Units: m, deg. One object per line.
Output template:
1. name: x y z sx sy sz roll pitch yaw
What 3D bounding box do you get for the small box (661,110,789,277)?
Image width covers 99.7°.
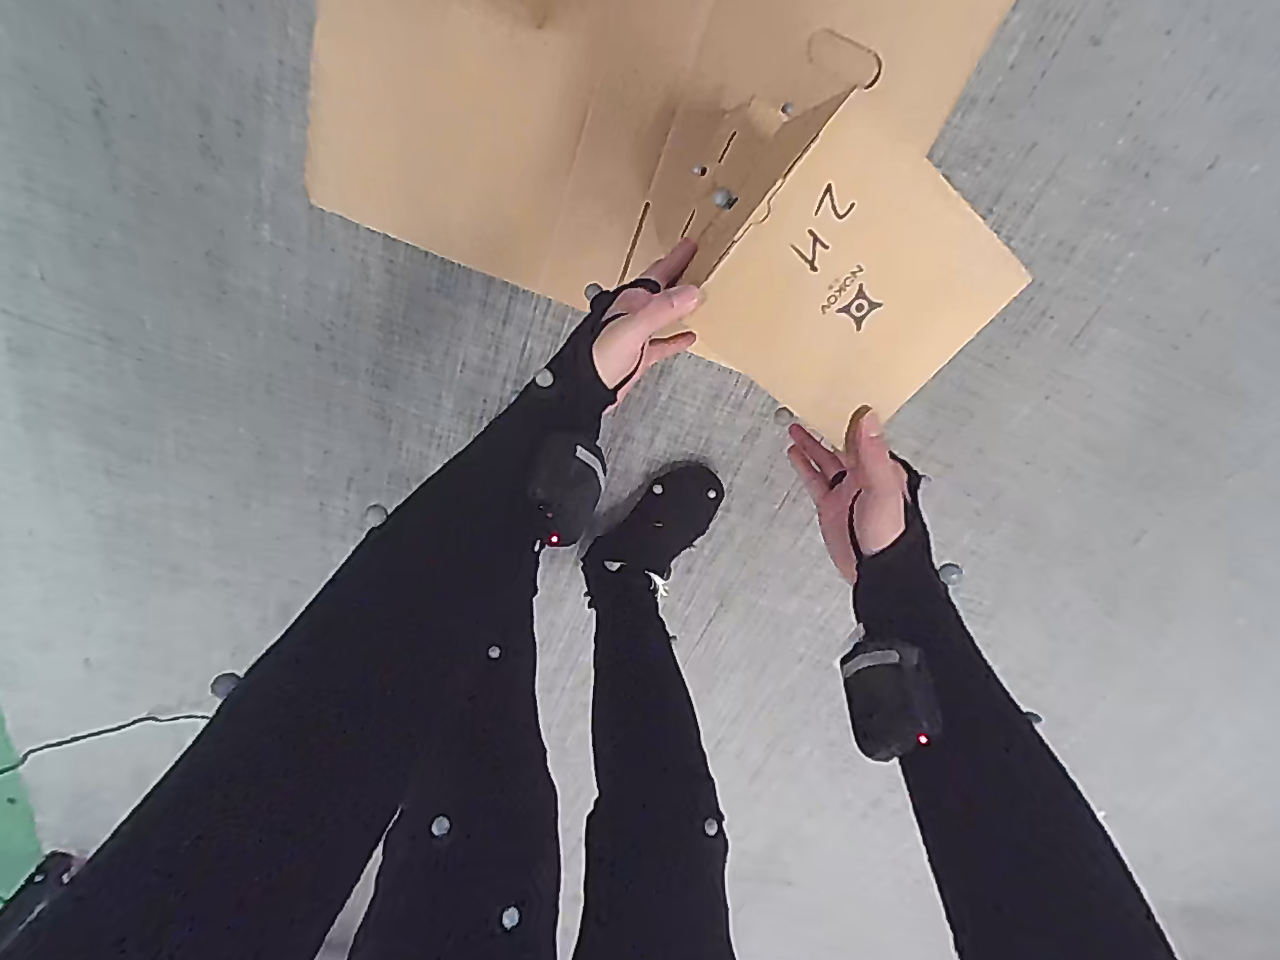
1. small box: 0.137 -0.282 0.612 0.179 0.176 0.168 24 117 -11

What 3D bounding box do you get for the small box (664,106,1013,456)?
1. small box: 0.136 -0.156 0.439 0.179 0.176 0.168 34 112 -16
